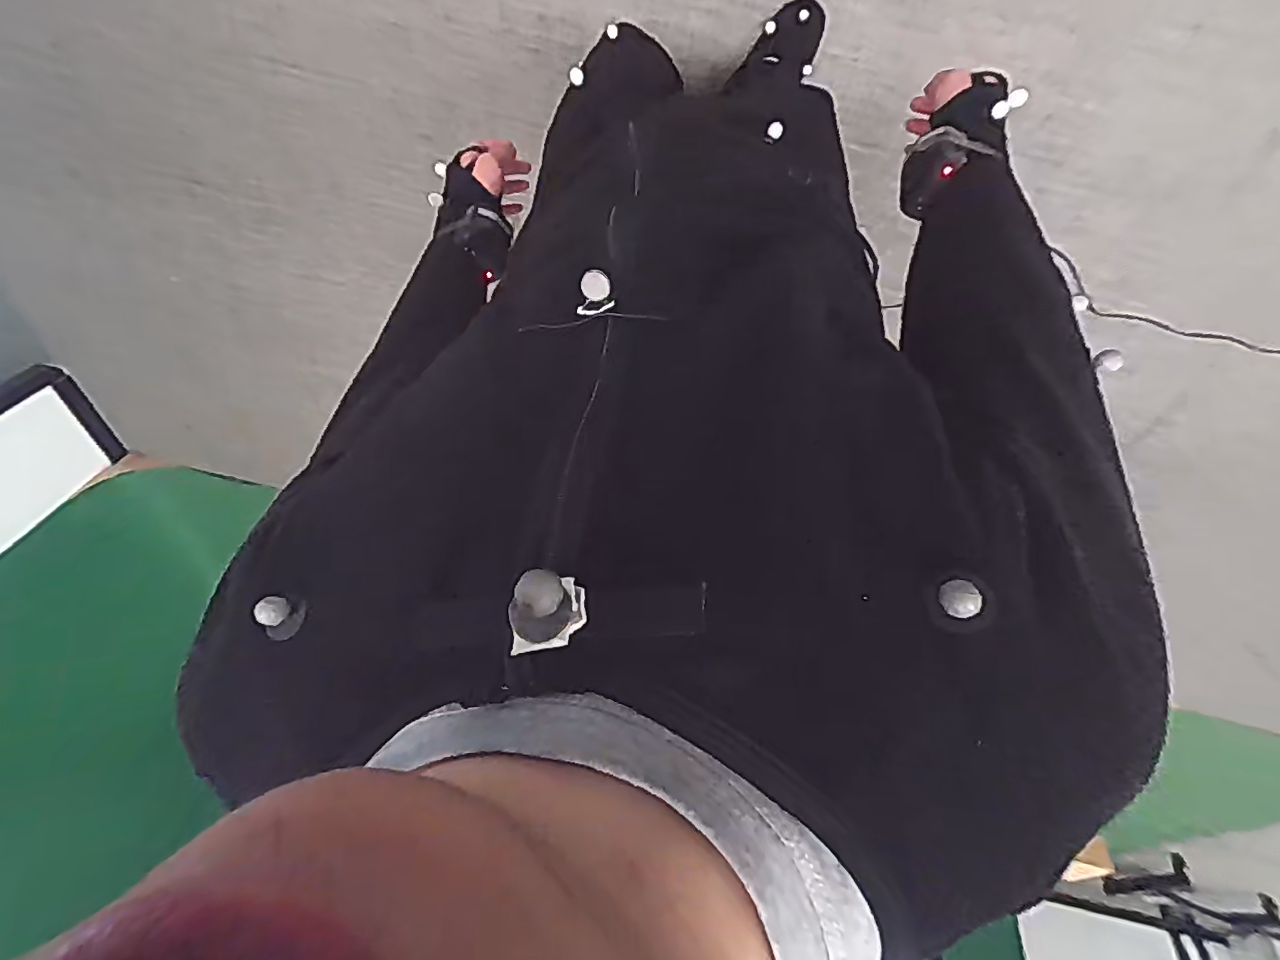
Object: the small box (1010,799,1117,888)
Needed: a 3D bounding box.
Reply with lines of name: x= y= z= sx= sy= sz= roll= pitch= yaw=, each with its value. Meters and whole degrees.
small box: x=1.234 y=1.072 z=1.595 sx=0.168 sy=0.176 sz=0.179 roll=13 pitch=135 yaw=2
